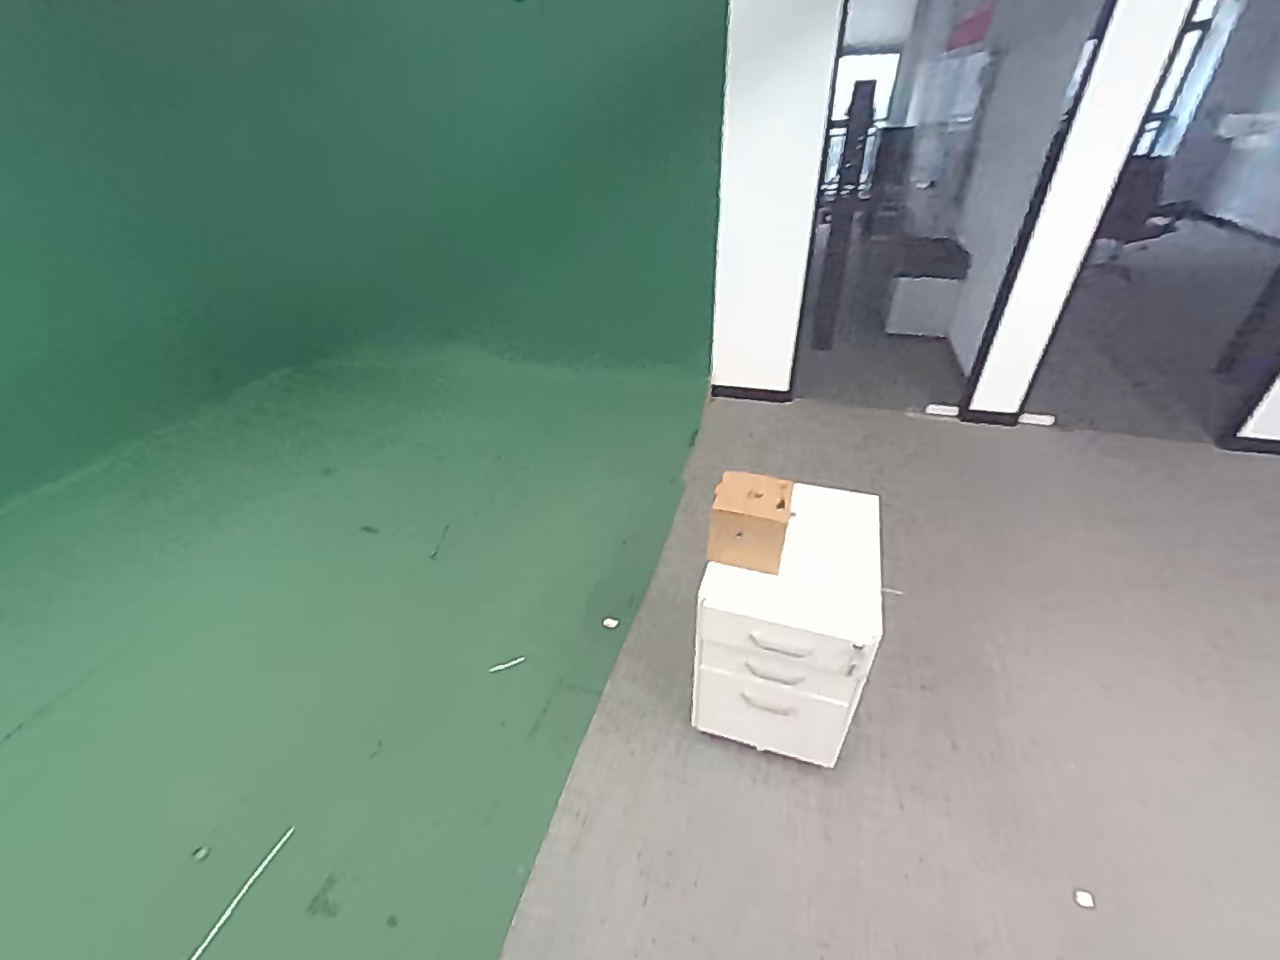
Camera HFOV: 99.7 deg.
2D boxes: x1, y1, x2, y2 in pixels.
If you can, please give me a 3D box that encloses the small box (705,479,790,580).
[{"bbox_3d":[0.261,0.122,1.324,0.179,0.176,0.168,10,36,15],"label":"small box"}]
